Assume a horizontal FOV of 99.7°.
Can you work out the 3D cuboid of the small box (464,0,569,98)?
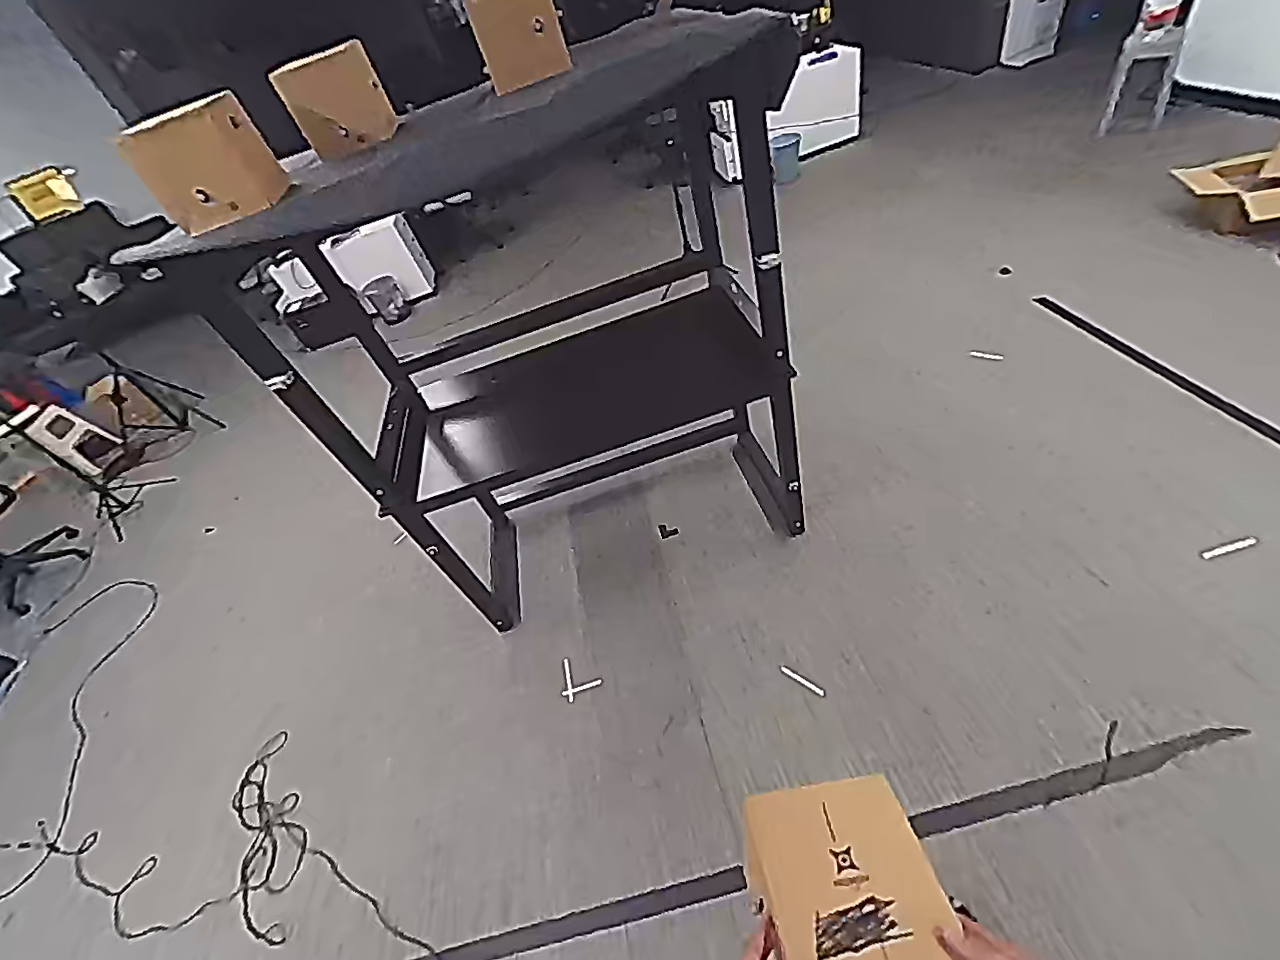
[{"bbox_3d":[-0.262,-0.973,1.184,0.179,0.176,0.168,-17,43,4],"label":"small box"}]

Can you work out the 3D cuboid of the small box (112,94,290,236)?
[{"bbox_3d":[-0.791,-0.580,1.001,0.168,0.176,0.179,-21,45,0],"label":"small box"}]

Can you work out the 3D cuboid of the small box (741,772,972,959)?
[{"bbox_3d":[0.211,0.455,0.577,0.168,0.176,0.179,-8,30,-3],"label":"small box"}]
